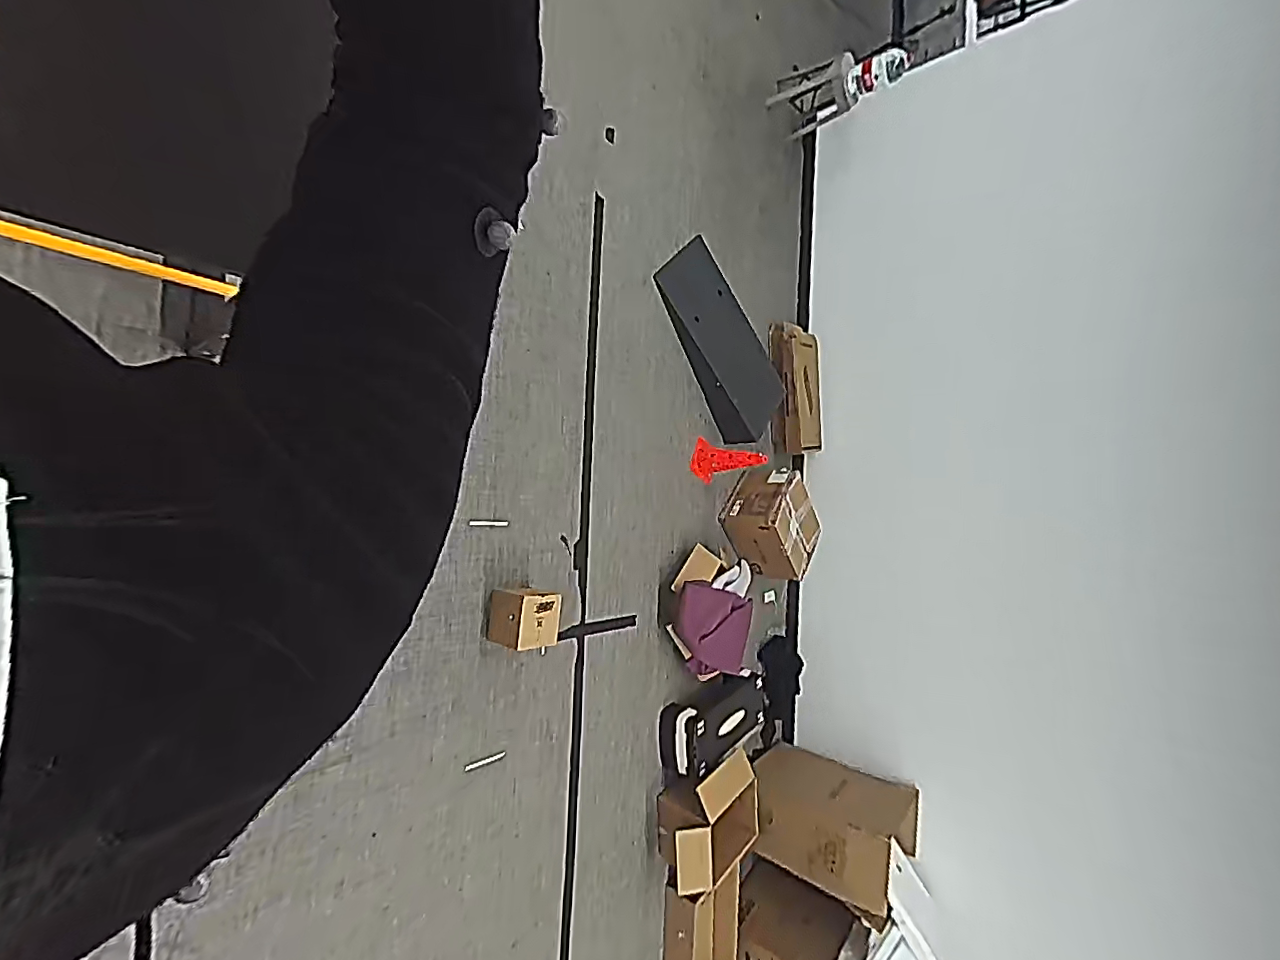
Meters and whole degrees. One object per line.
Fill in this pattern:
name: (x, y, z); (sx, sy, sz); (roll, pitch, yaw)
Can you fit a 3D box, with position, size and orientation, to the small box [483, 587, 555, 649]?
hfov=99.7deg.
small box: (-0.411, 0.459, 1.824); (0.168, 0.176, 0.179); (11, 83, -50)
